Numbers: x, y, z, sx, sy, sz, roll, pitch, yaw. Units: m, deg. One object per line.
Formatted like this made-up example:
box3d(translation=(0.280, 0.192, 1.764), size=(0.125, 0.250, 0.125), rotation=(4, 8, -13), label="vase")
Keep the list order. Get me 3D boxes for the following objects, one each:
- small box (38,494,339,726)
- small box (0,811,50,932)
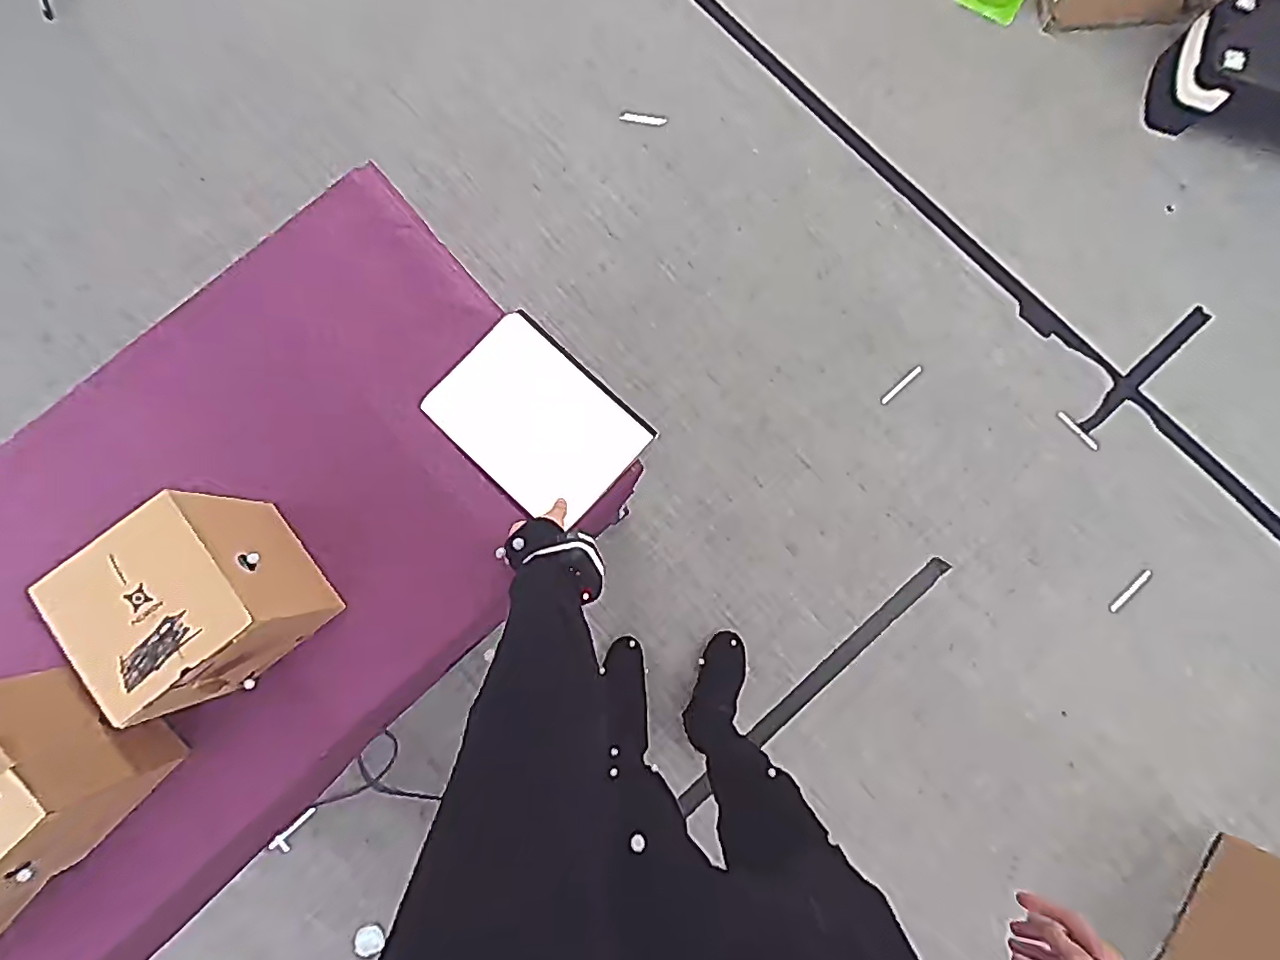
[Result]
box3d(translation=(-0.496, 0.138, 0.625), size=(0.168, 0.176, 0.179), rotation=(-39, 83, -5), label="small box")
box3d(translation=(-0.824, 0.476, 0.580), size=(0.179, 0.176, 0.168), rotation=(40, 83, 6), label="small box")
